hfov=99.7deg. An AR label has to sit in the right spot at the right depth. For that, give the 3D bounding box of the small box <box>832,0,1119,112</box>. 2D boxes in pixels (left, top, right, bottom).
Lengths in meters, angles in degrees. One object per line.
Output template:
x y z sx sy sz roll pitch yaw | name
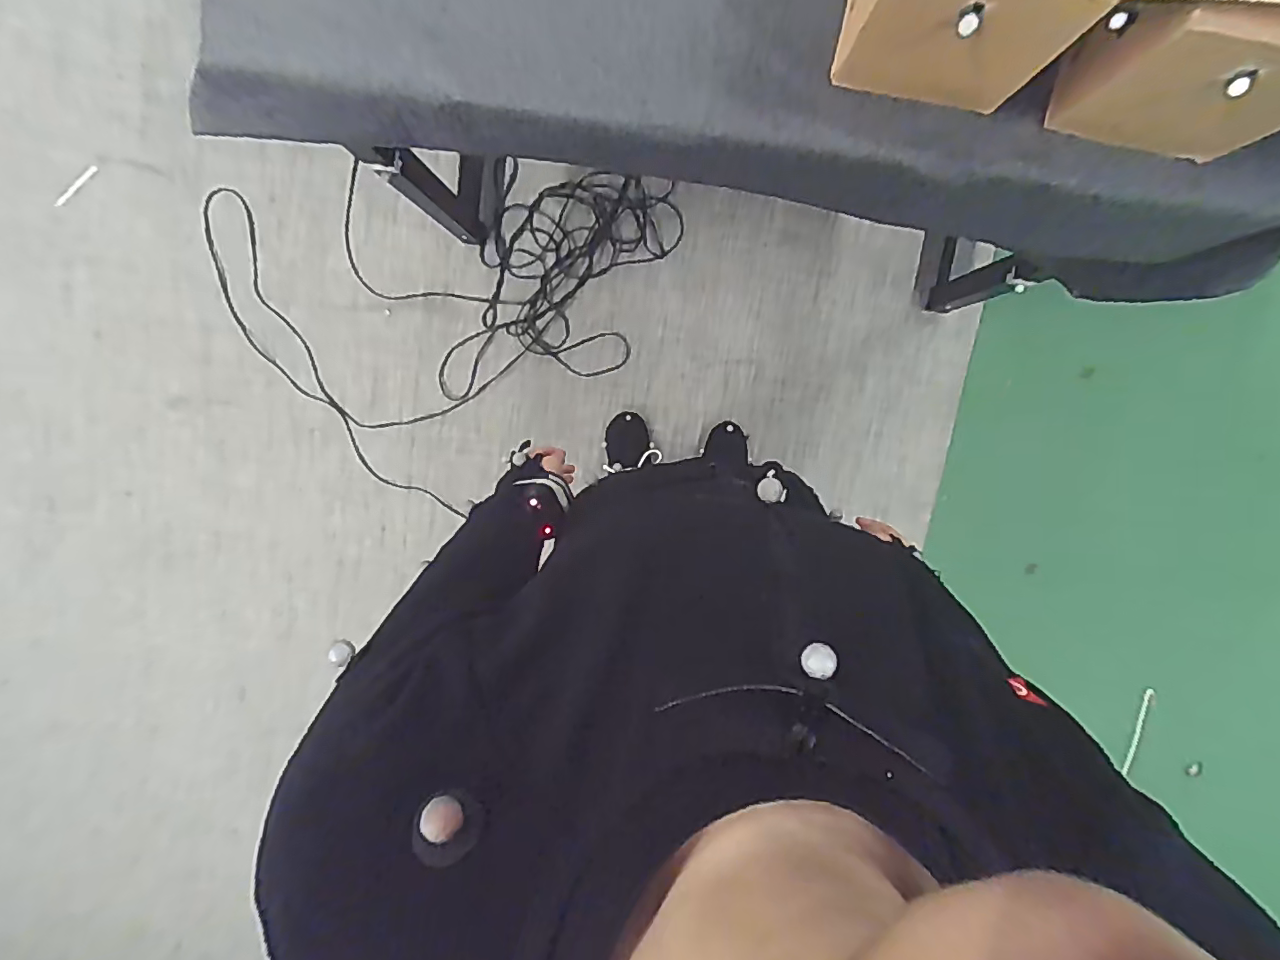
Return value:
0.296 -0.463 0.477 0.179 0.176 0.168 12 98 1 | small box
